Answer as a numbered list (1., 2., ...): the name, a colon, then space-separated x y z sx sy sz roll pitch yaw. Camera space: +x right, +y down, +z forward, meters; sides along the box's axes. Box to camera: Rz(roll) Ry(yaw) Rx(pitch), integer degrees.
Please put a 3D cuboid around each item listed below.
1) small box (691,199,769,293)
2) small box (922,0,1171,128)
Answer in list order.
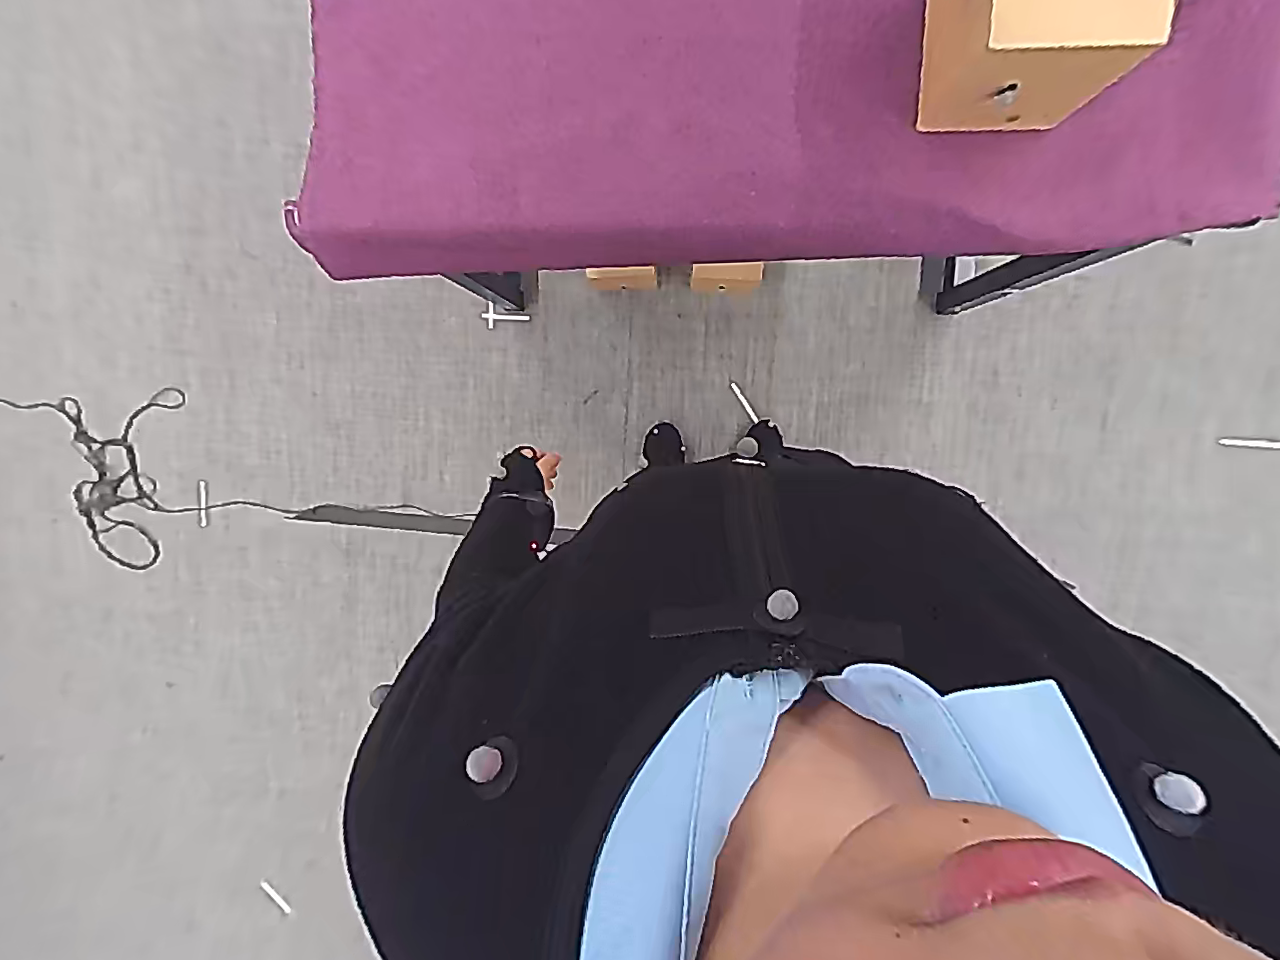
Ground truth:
1. small box: 0.217 -0.569 1.338 0.168 0.176 0.179 5 97 3
2. small box: 0.430 -0.515 0.592 0.168 0.176 0.179 2 97 4
